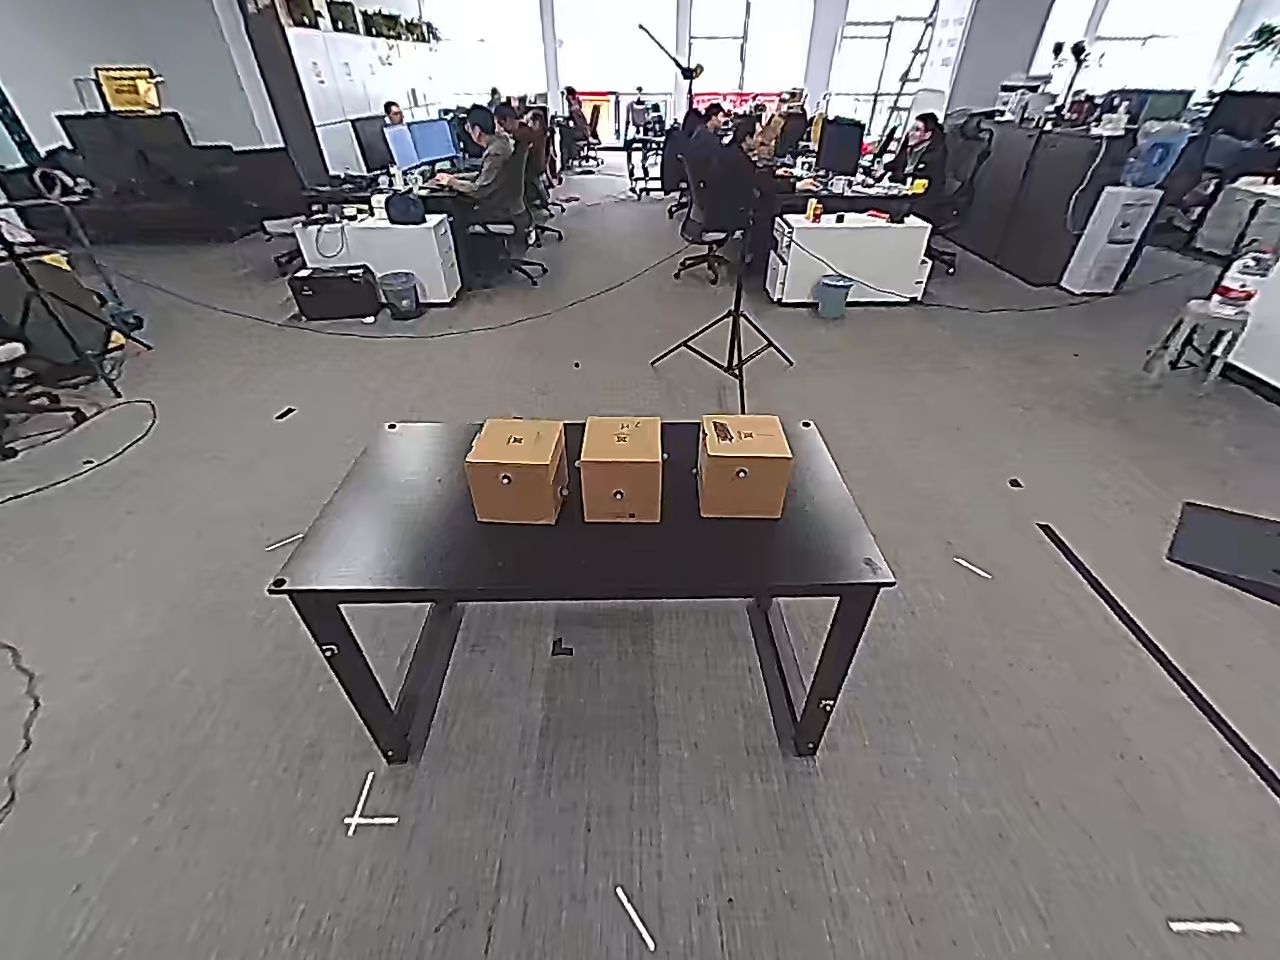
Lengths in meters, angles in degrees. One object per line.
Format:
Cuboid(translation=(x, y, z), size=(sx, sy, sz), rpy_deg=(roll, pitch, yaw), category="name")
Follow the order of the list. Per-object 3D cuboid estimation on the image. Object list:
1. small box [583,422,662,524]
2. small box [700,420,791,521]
Cuboid(translation=(-0.033, -0.015, 1.211), size=(0.168, 0.176, 0.179), rpy_deg=(1, 37, 1), category="small box")
Cuboid(translation=(0.227, -0.022, 1.219), size=(0.179, 0.176, 0.168), rpy_deg=(1, 37, 1), category="small box")
